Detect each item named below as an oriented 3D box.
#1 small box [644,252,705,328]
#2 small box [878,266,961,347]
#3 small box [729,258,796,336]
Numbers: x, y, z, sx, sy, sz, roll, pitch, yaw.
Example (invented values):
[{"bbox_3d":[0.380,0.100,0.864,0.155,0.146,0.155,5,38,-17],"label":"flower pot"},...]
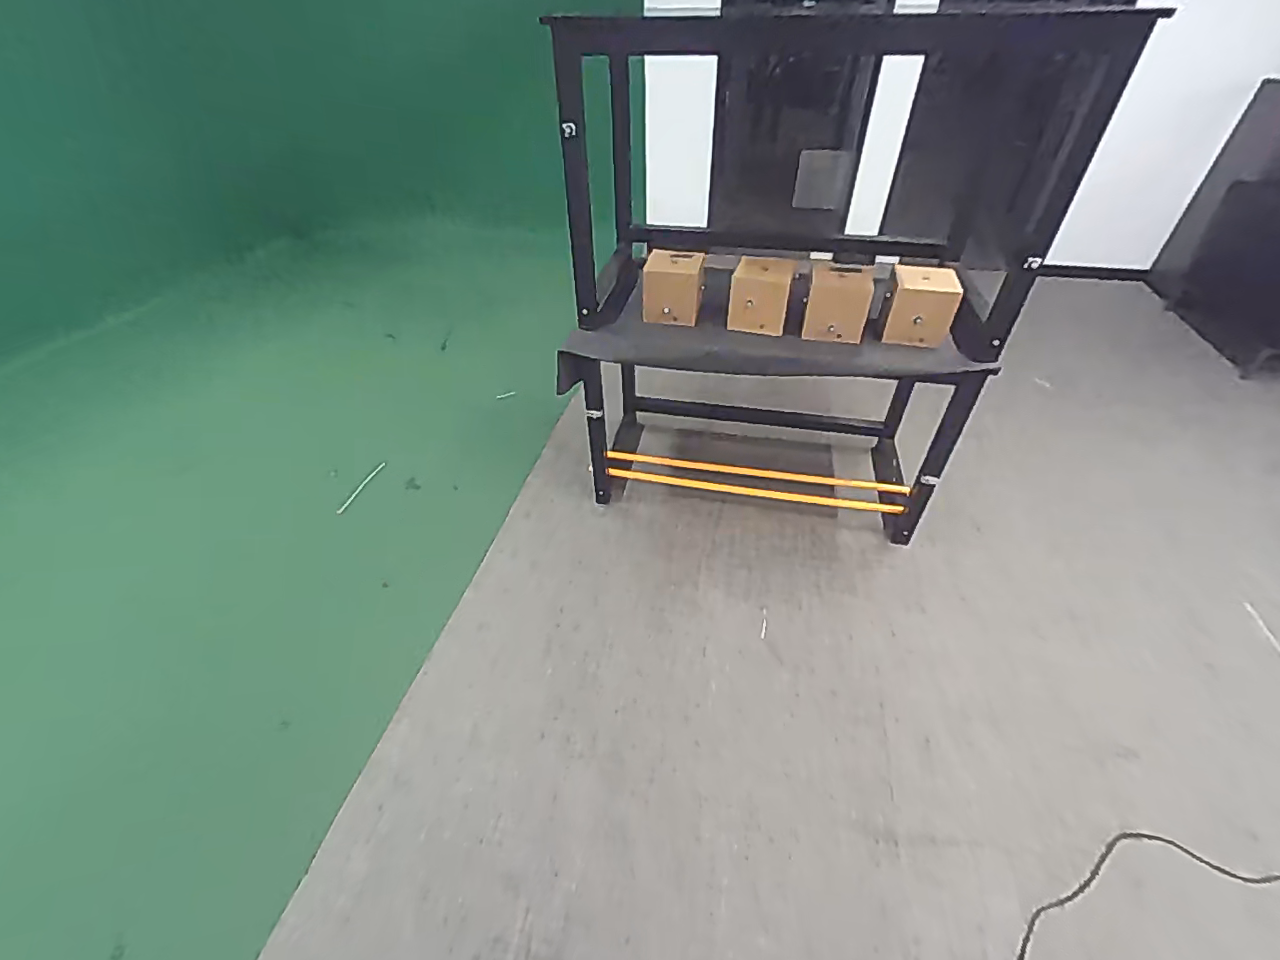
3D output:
[{"bbox_3d":[0.107,-0.595,1.692,0.168,0.176,0.179,7,43,9],"label":"small box"},{"bbox_3d":[0.800,-0.501,1.565,0.168,0.176,0.179,9,42,12],"label":"small box"},{"bbox_3d":[0.369,-0.554,1.642,0.168,0.176,0.179,12,43,14],"label":"small box"}]
